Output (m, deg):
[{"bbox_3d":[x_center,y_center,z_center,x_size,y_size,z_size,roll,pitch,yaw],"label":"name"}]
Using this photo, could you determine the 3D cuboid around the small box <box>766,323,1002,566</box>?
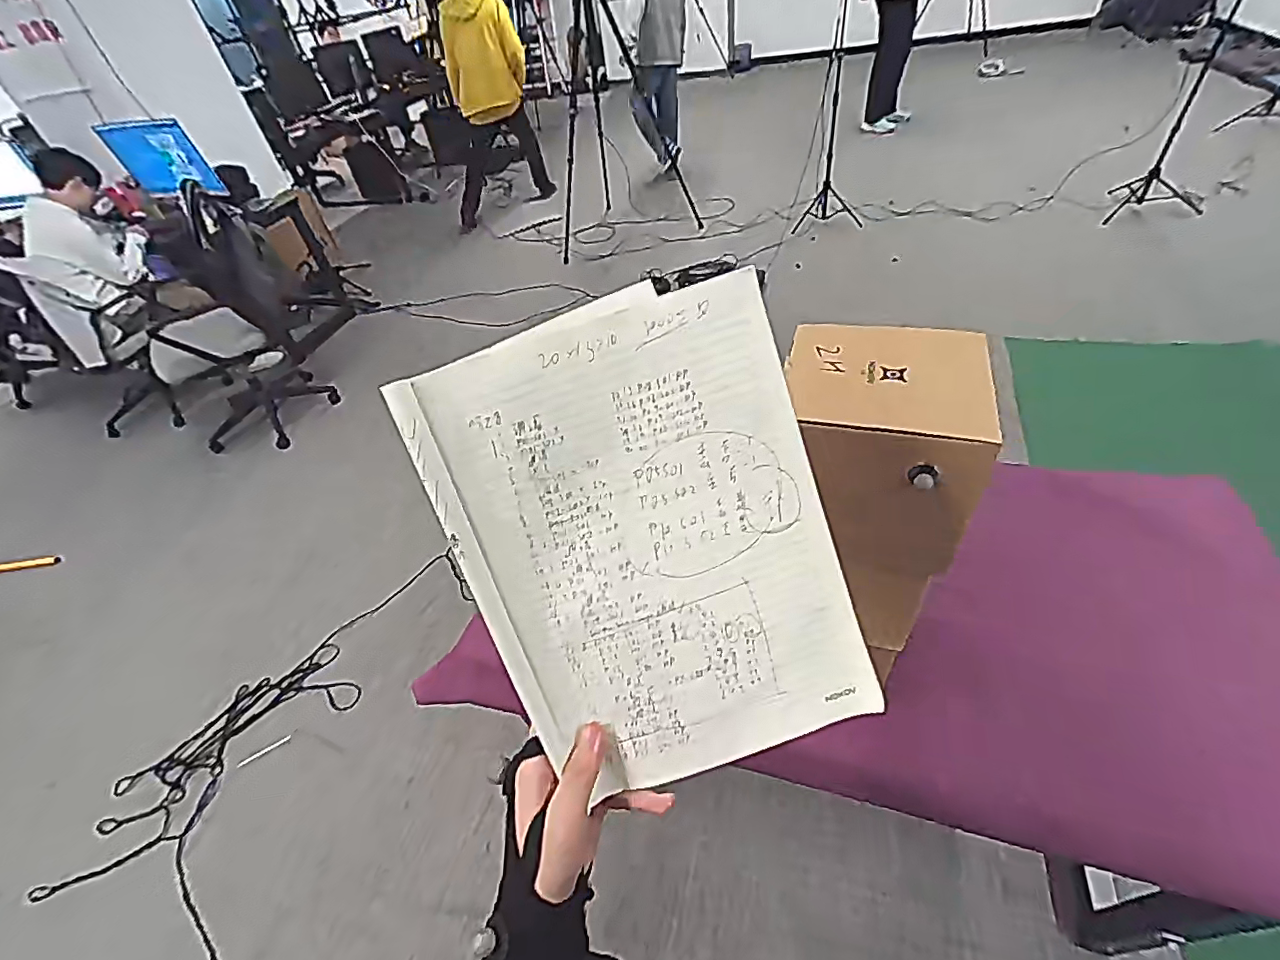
[{"bbox_3d":[0.230,-0.036,0.540,0.179,0.176,0.168,9,46,20],"label":"small box"}]

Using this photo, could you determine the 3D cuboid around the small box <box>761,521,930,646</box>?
[{"bbox_3d":[0.245,0.076,0.661,0.168,0.176,0.179,8,46,18],"label":"small box"}]
